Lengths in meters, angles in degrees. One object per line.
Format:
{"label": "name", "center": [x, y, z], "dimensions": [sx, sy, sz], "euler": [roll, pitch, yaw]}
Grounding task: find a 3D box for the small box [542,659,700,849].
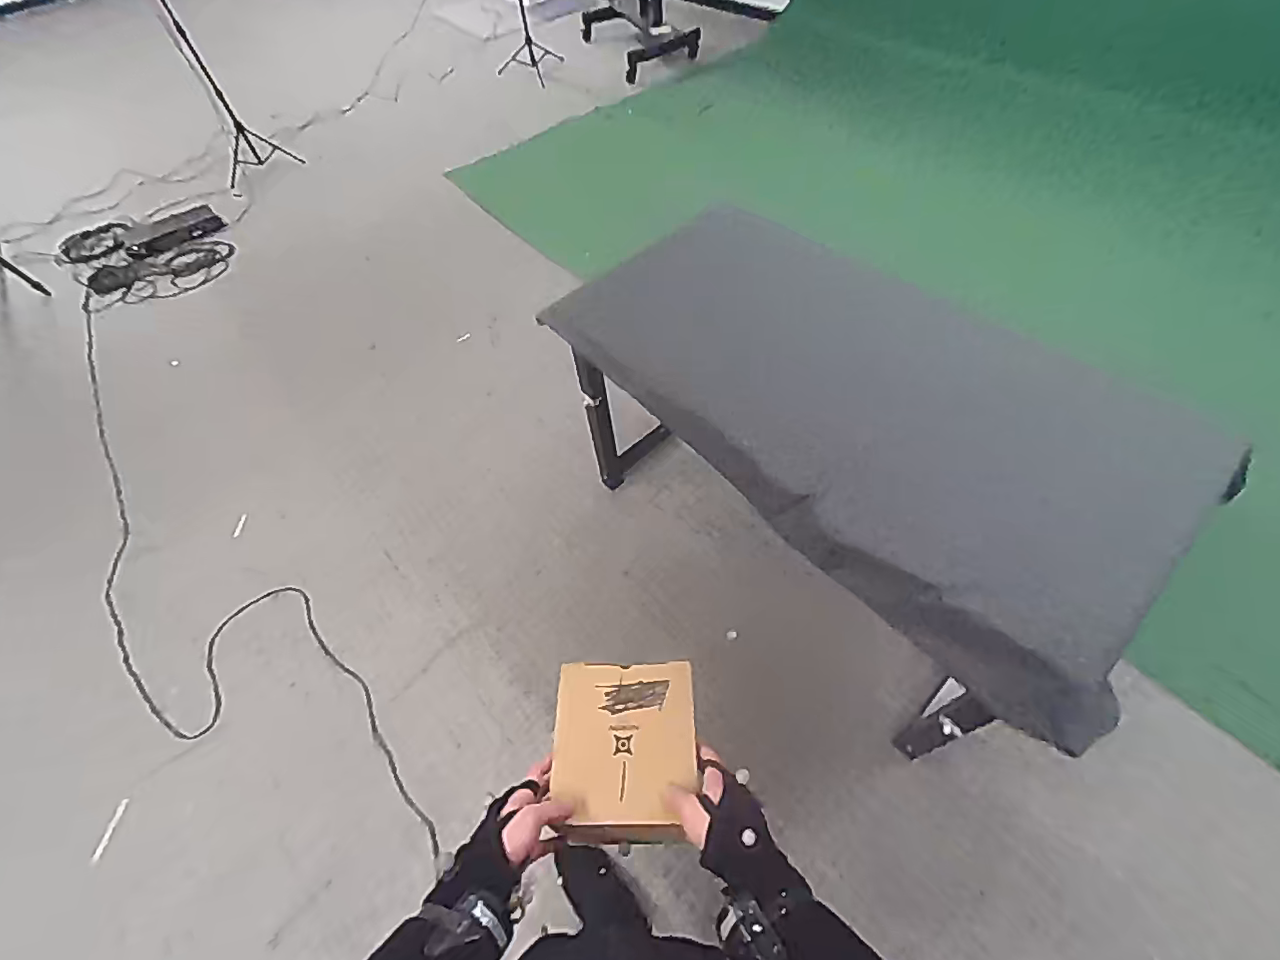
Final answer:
{"label": "small box", "center": [-0.016, 0.339, 0.668], "dimensions": [0.168, 0.176, 0.179], "euler": [-1, 50, 3]}
